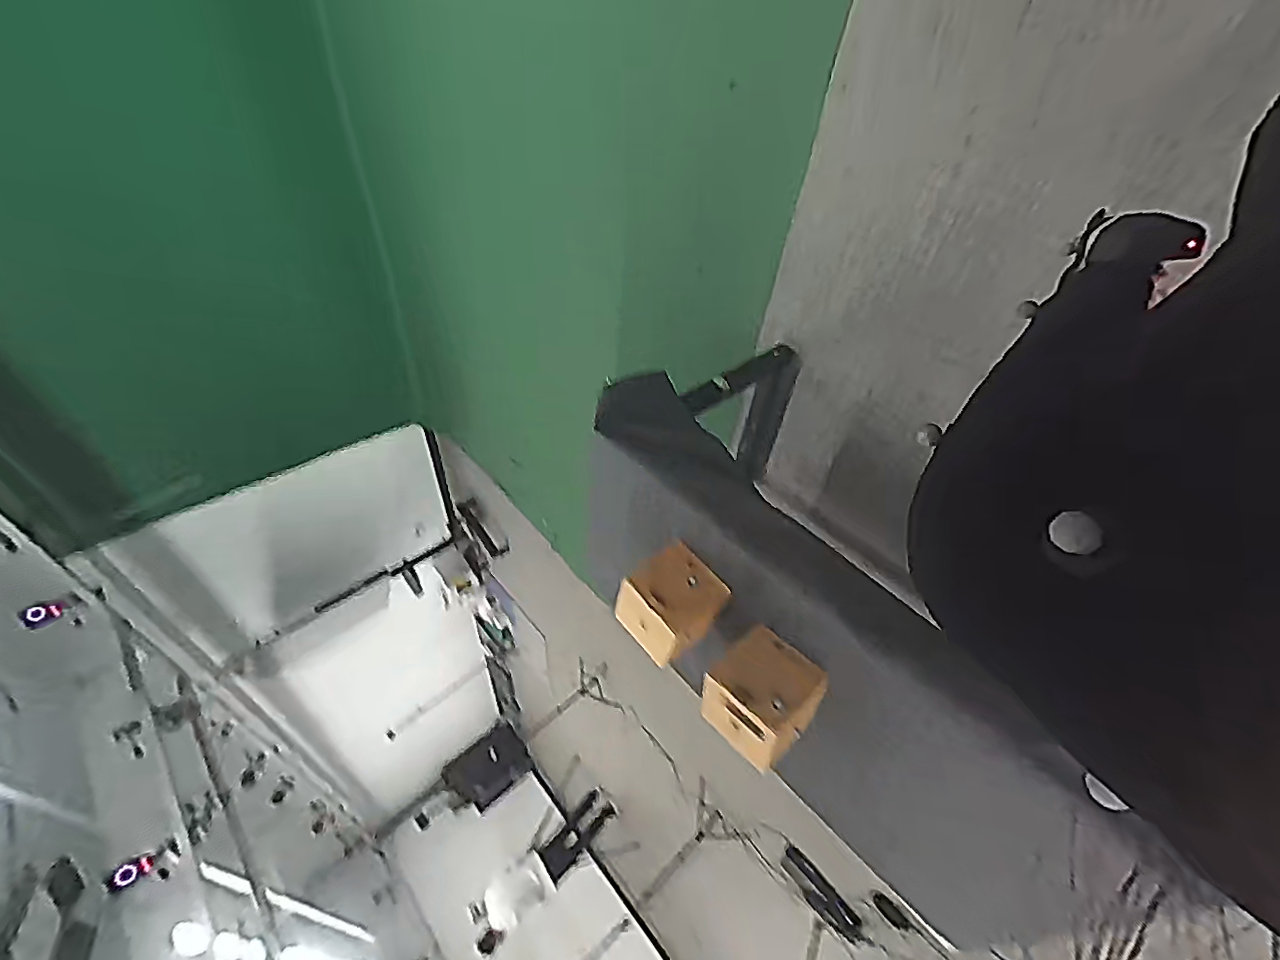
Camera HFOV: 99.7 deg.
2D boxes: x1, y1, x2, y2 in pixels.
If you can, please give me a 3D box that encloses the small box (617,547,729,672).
[{"bbox_3d":[0.071,0.282,1.192,0.168,0.176,0.179,44,145,25],"label":"small box"}]
